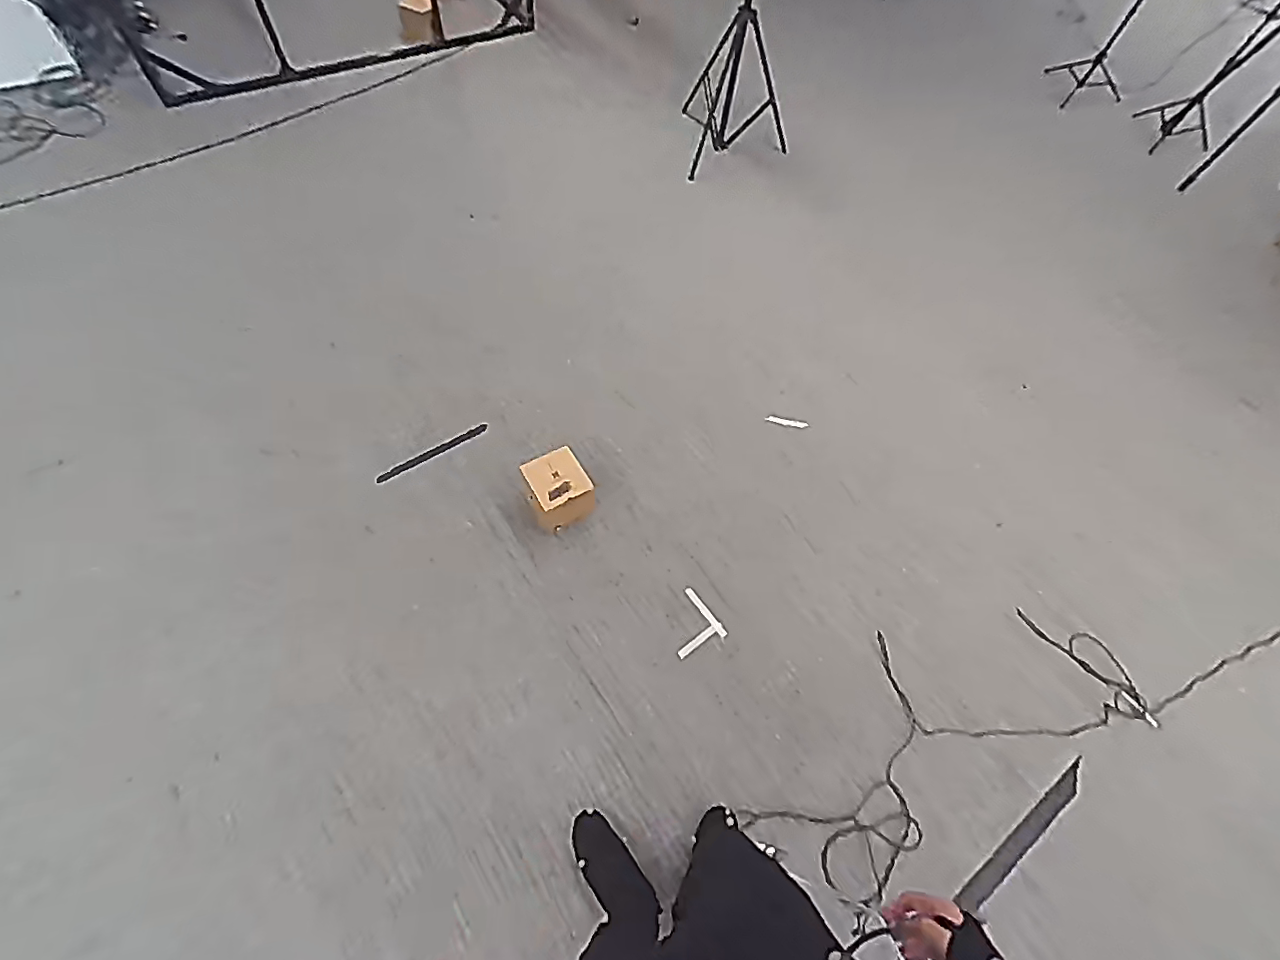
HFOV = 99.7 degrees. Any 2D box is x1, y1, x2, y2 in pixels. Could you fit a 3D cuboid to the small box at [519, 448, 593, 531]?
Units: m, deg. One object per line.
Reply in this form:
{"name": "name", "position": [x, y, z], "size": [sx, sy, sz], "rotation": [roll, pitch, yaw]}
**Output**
{"name": "small box", "position": [-0.255, 0.037, 1.672], "size": [0.168, 0.176, 0.179], "rotation": [-26, 65, -19]}
